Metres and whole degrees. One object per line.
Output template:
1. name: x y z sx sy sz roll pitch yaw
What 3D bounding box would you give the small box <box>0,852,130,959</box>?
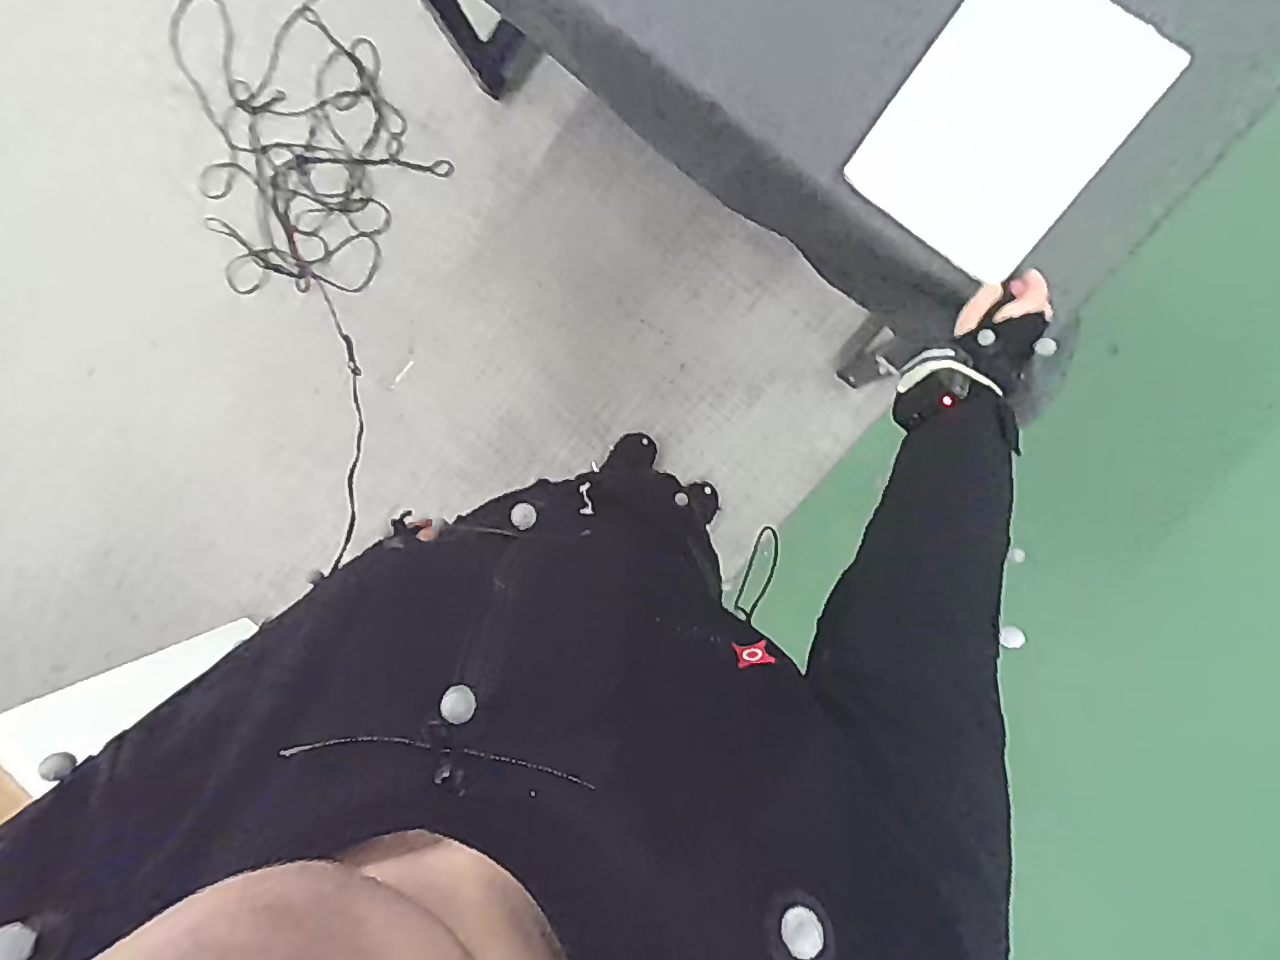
1. small box: -0.980 0.751 0.861 0.168 0.176 0.179 45 100 4
